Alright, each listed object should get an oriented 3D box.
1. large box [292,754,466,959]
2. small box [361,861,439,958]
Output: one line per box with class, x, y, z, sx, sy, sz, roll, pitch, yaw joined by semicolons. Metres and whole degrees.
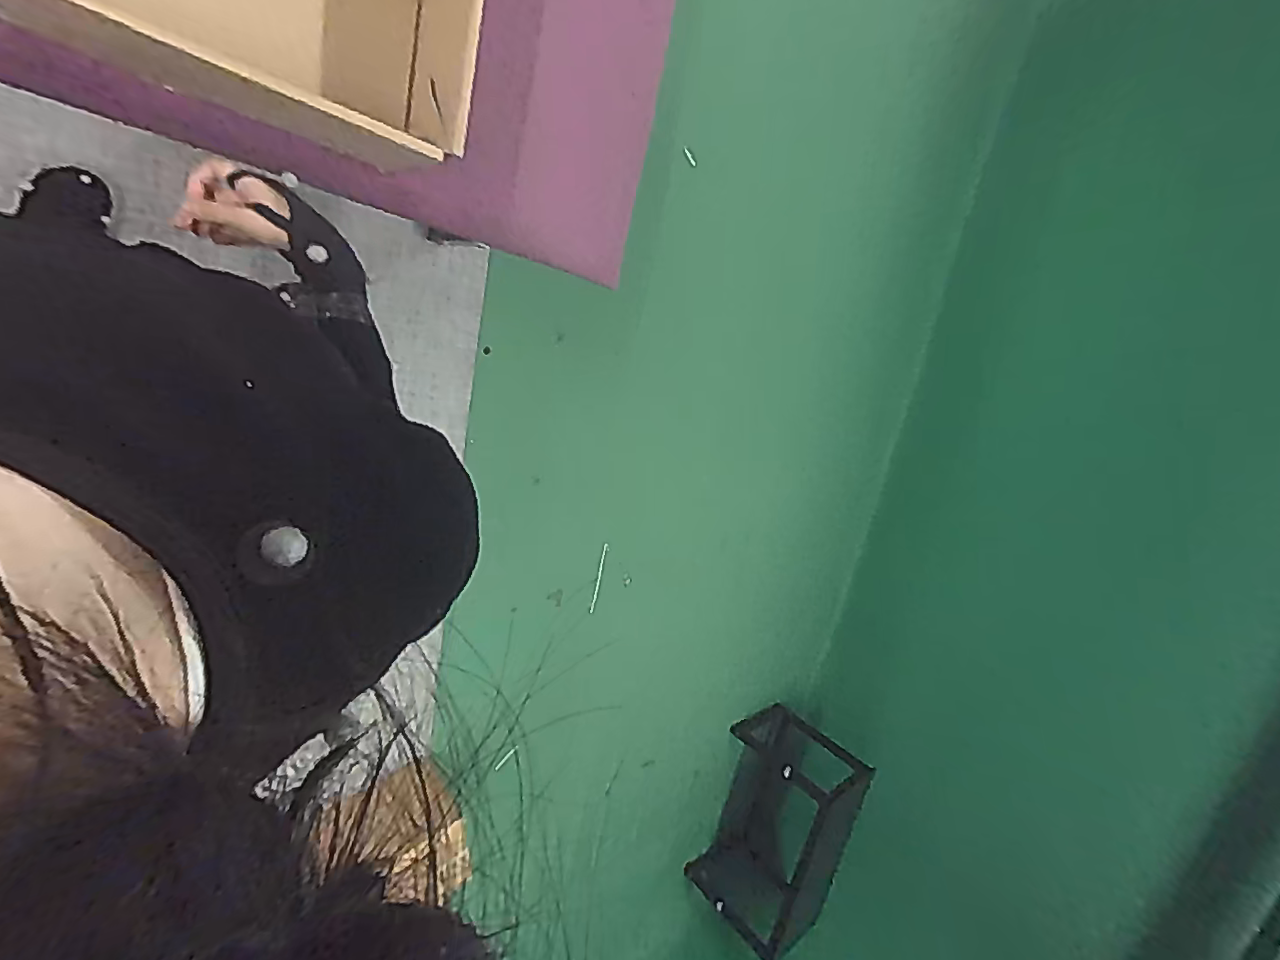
large box;-0.840;1.203;1.762;0.408;0.320;0.320;-20;122;-39
small box;-0.694;1.257;1.567;0.168;0.176;0.179;-12;116;-40
